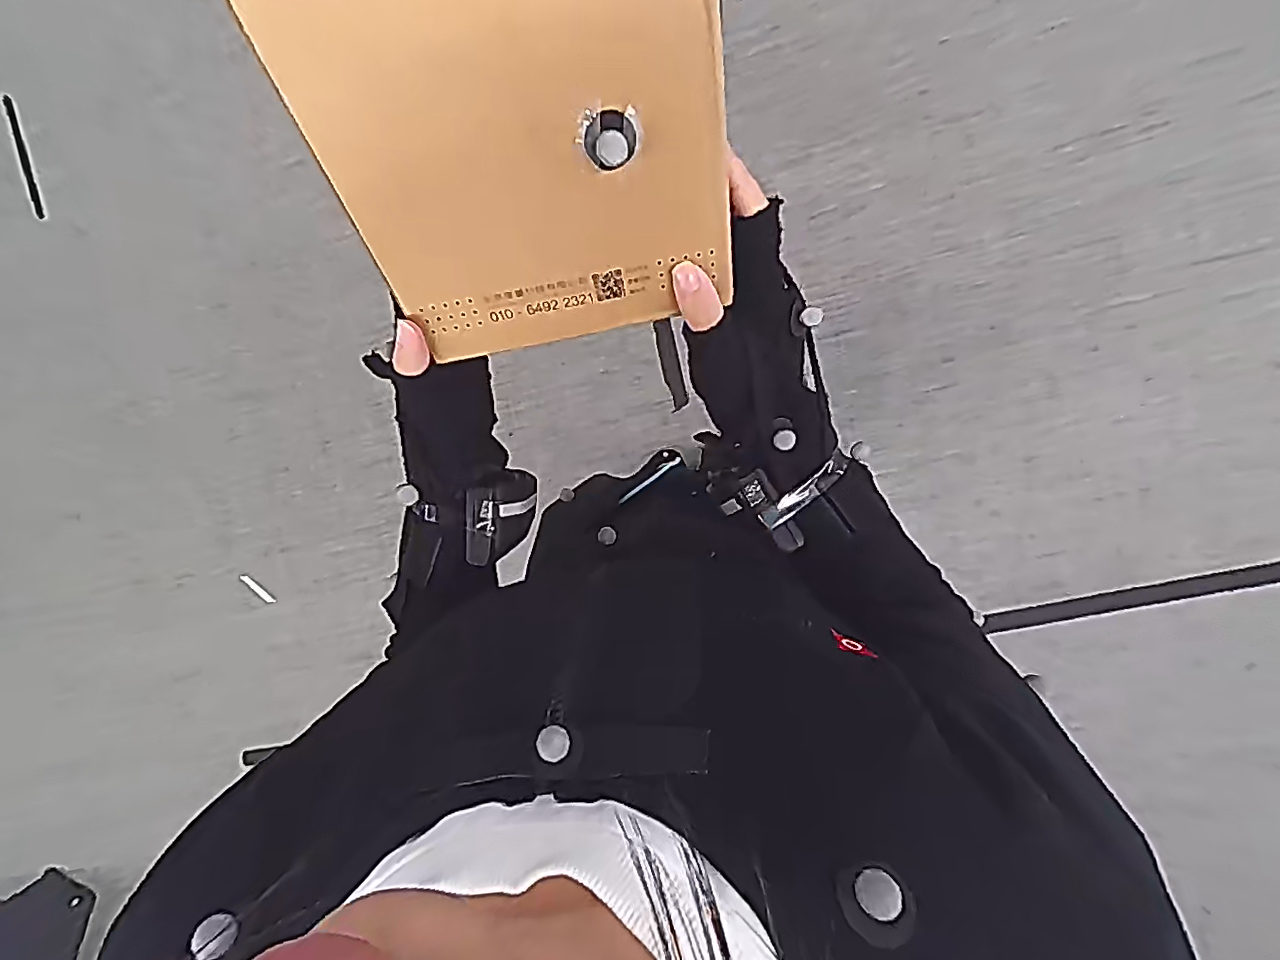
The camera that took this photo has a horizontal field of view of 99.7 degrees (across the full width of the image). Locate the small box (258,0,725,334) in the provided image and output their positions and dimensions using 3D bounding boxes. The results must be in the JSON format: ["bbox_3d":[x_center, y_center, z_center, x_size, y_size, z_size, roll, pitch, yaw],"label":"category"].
[{"bbox_3d":[-0.050,-0.198,0.300,0.168,0.176,0.179,-9,49,5],"label":"small box"}]
